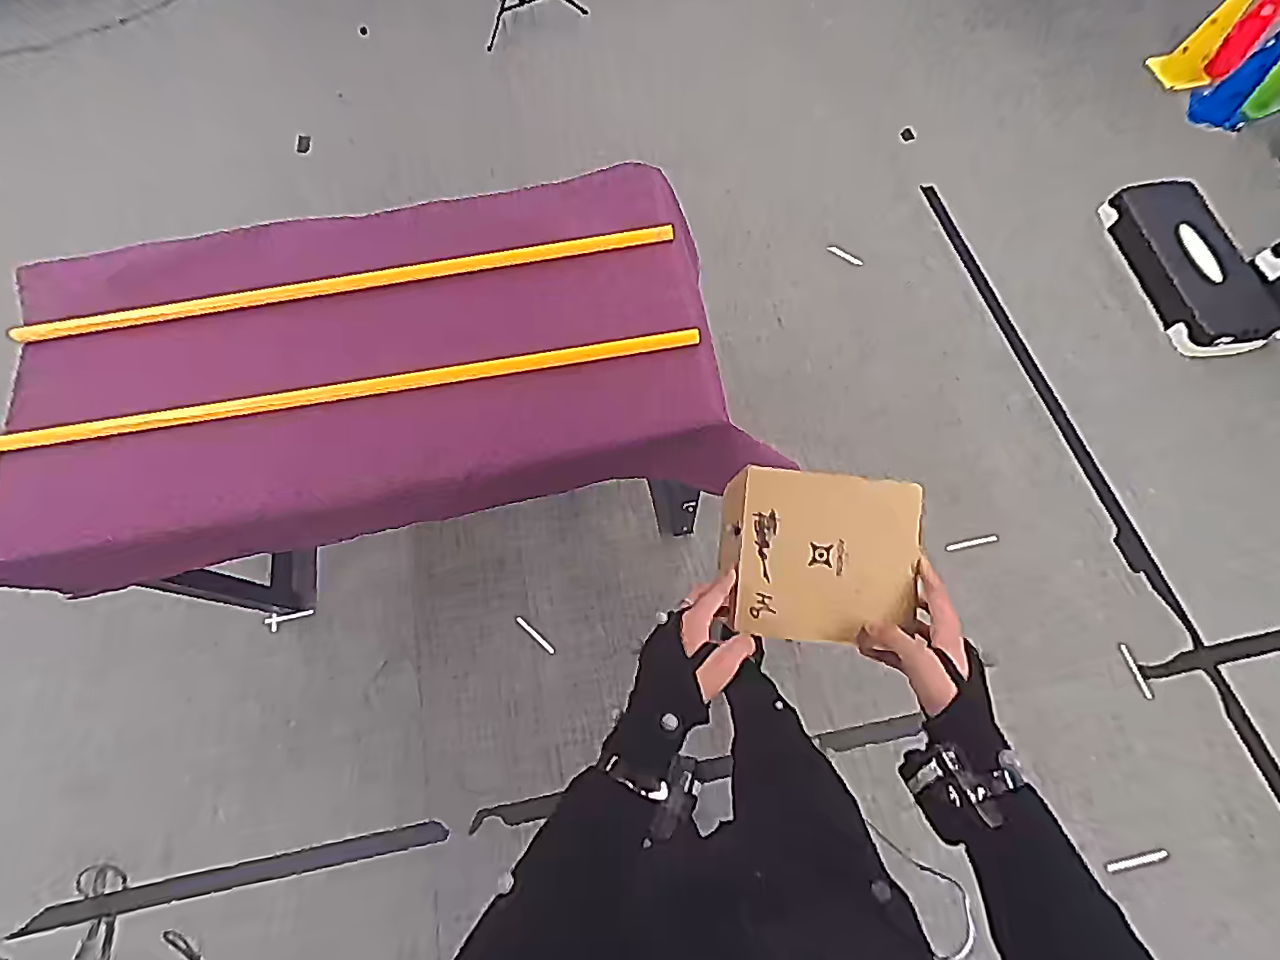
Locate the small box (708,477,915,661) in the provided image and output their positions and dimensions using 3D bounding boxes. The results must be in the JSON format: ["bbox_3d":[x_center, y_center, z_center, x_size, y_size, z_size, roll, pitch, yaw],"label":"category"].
[{"bbox_3d":[0.181,0.095,0.616,0.179,0.176,0.168,7,83,2],"label":"small box"}]
